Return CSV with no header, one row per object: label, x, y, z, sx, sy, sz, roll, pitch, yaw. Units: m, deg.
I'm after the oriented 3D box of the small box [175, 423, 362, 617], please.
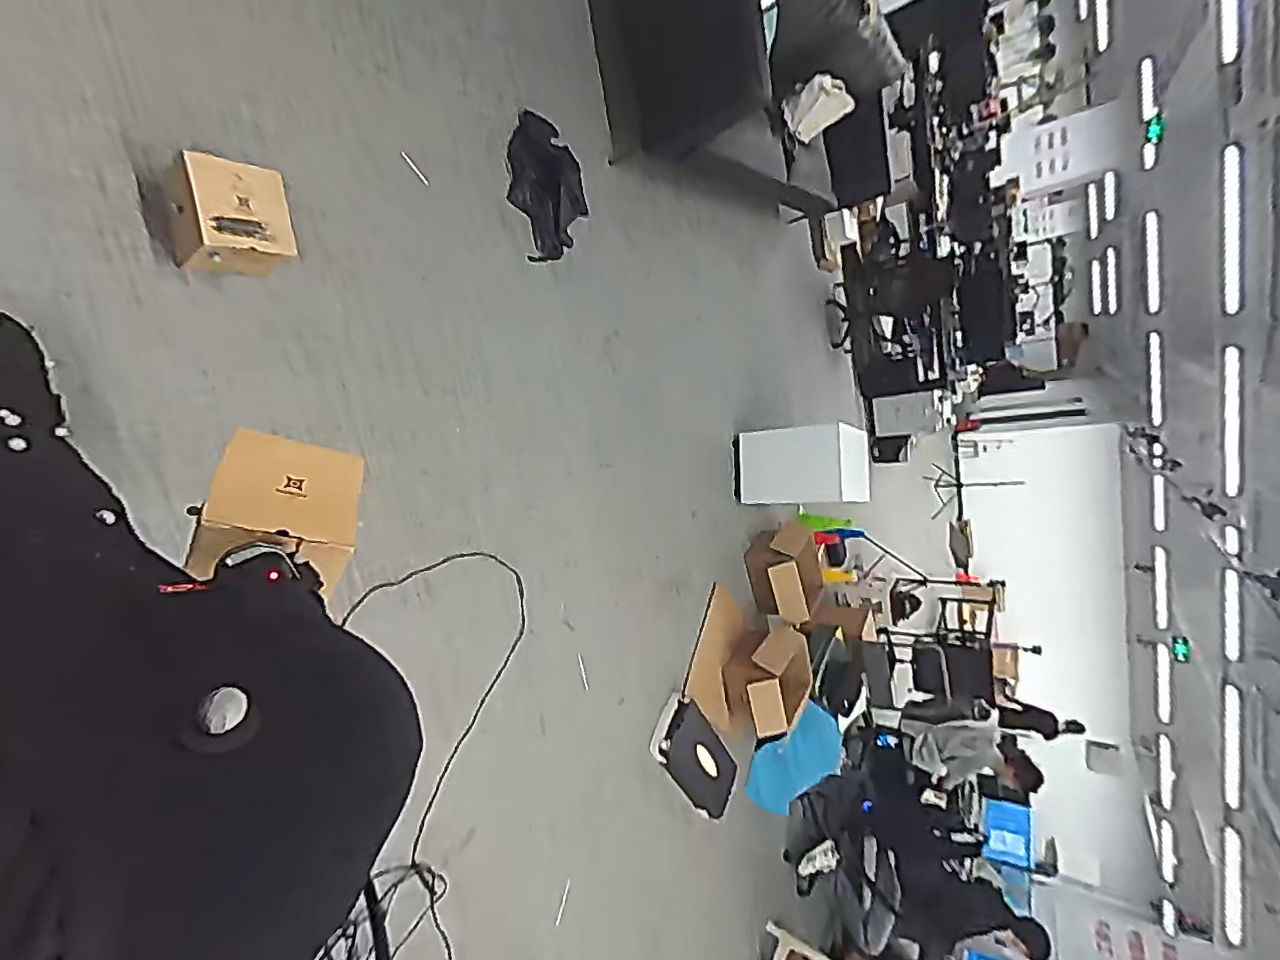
small box,-0.497,0.060,0.734,0.168,0.176,0.179,18,36,-36
